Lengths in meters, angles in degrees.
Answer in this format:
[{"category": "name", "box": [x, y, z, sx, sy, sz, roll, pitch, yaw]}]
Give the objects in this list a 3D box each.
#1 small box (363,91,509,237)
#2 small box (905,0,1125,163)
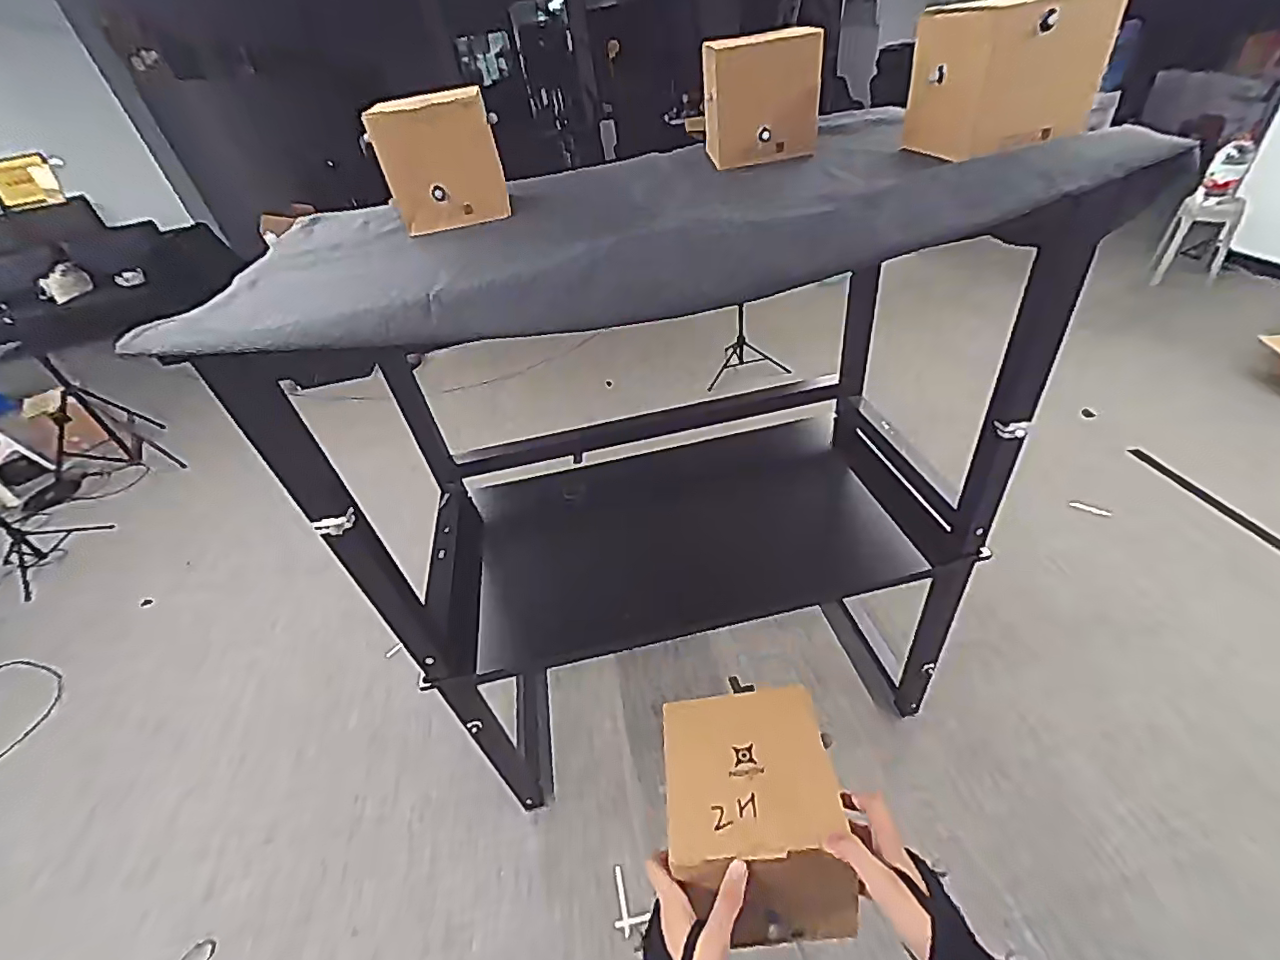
[{"category": "small box", "box": [-0.317, -0.513, 0.877, 0.168, 0.176, 0.179, -14, 41, -4]}, {"category": "small box", "box": [0.494, -0.551, 0.745, 0.168, 0.176, 0.179, -12, 38, -1]}]
